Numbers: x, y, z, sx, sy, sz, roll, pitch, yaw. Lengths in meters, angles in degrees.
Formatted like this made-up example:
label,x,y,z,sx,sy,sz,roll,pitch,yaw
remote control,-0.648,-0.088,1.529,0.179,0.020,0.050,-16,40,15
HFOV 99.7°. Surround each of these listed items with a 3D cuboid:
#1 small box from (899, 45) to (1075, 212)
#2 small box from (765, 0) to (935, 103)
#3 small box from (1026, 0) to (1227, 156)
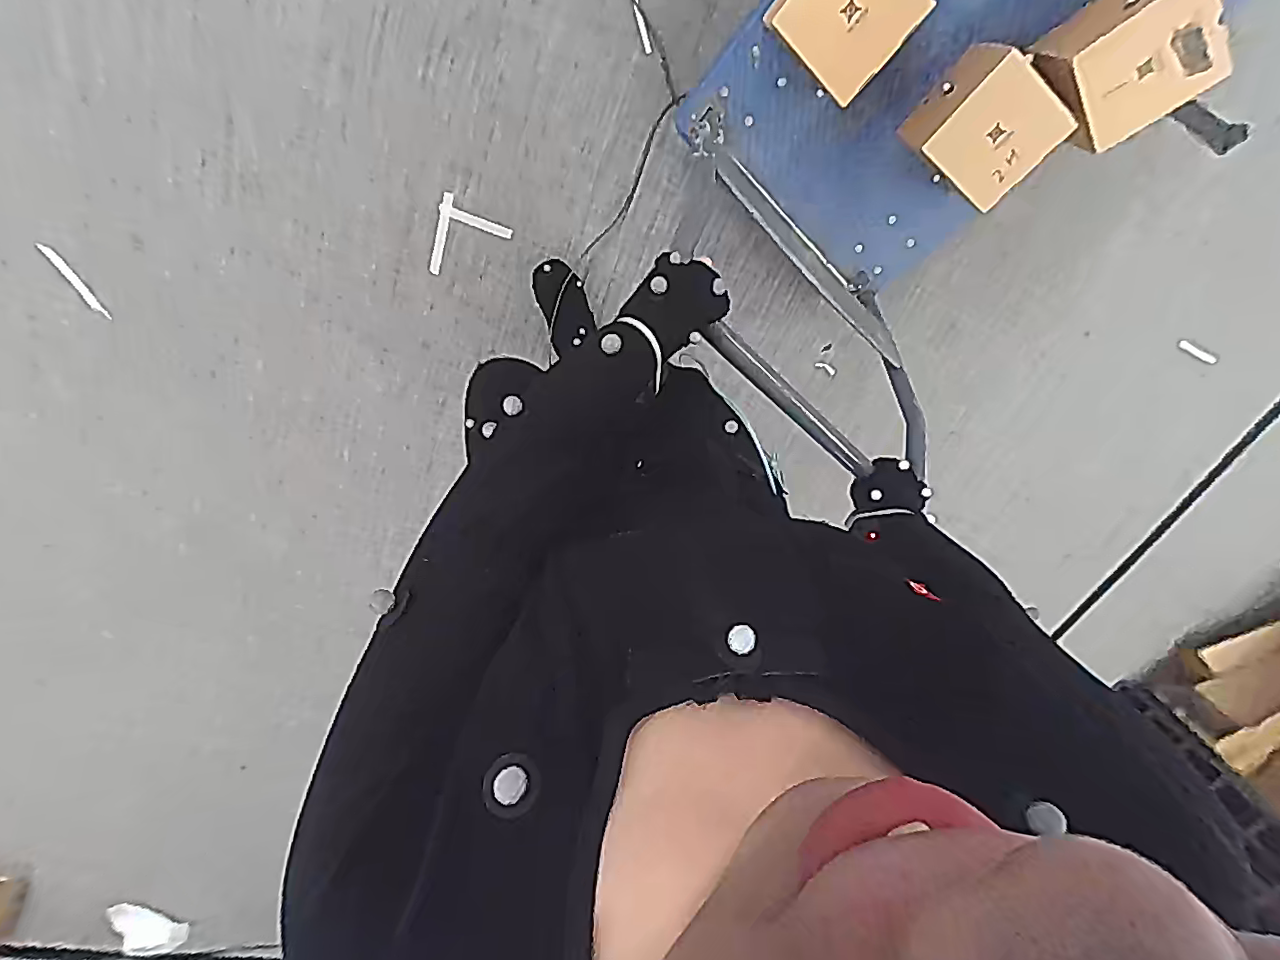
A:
label,x,y,z,sx,sy,sz,roll,pitch,yaw
small box,0.587,-0.610,0.940,0.179,0.176,0.168,31,128,-19
small box,0.318,-0.745,0.855,0.179,0.176,0.168,33,127,-23
small box,0.767,-0.668,0.867,0.179,0.176,0.168,-28,122,29
